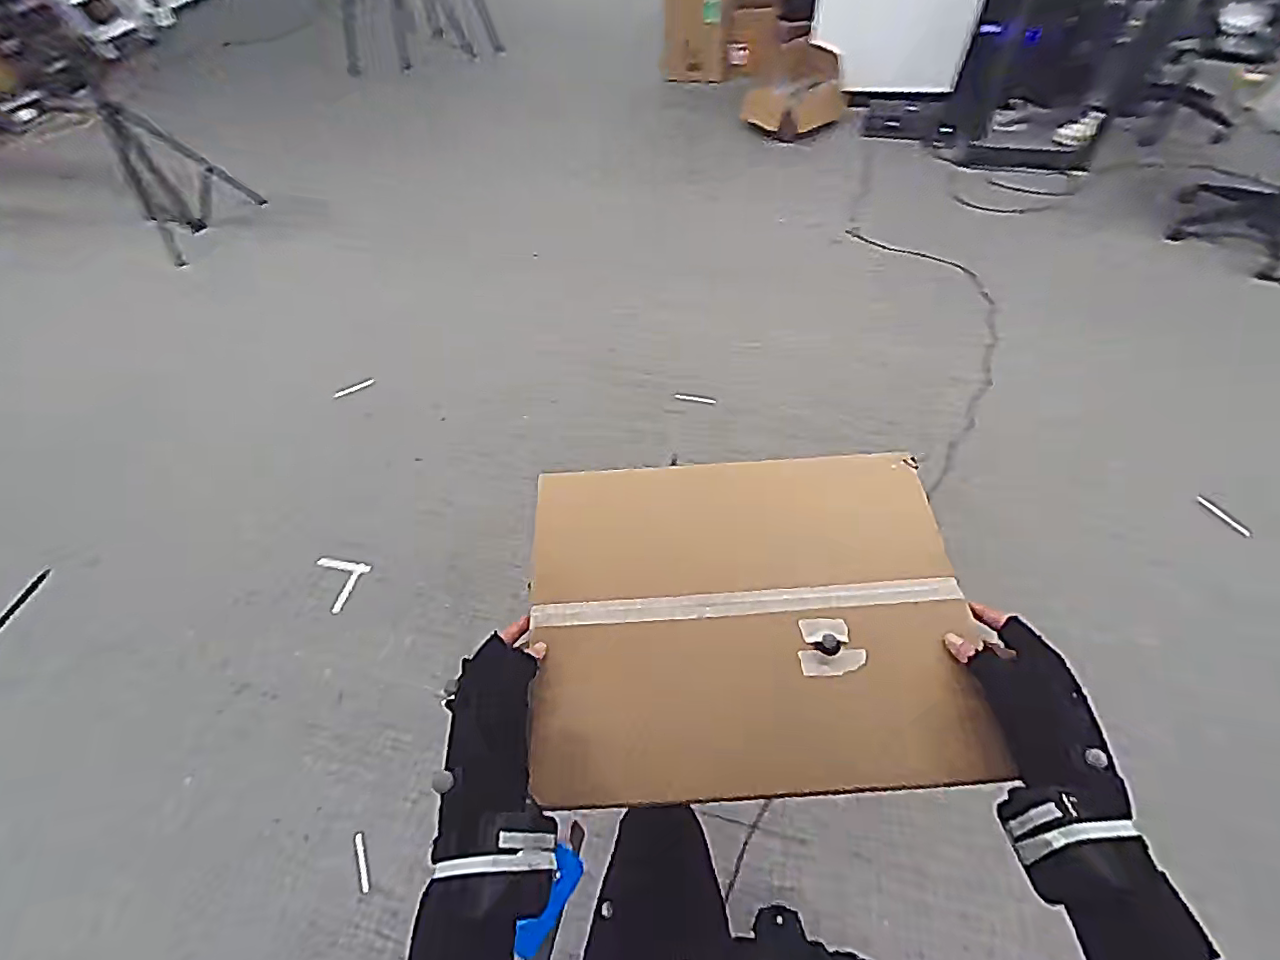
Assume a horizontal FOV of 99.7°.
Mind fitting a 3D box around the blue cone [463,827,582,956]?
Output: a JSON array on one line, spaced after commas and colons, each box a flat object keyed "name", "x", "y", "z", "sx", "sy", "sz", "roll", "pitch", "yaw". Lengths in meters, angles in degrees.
[{"name": "blue cone", "x": -0.257, "y": 0.800, "z": 1.054, "sx": 0.193, "sy": 0.380, "sz": 0.192, "roll": 28, "pitch": 62, "yaw": 23}]

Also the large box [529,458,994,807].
[{"name": "large box", "x": 0.095, "y": 0.199, "z": 0.655, "sx": 0.408, "sy": 0.320, "sz": 0.320, "roll": -4, "pitch": 60, "yaw": 0}]
